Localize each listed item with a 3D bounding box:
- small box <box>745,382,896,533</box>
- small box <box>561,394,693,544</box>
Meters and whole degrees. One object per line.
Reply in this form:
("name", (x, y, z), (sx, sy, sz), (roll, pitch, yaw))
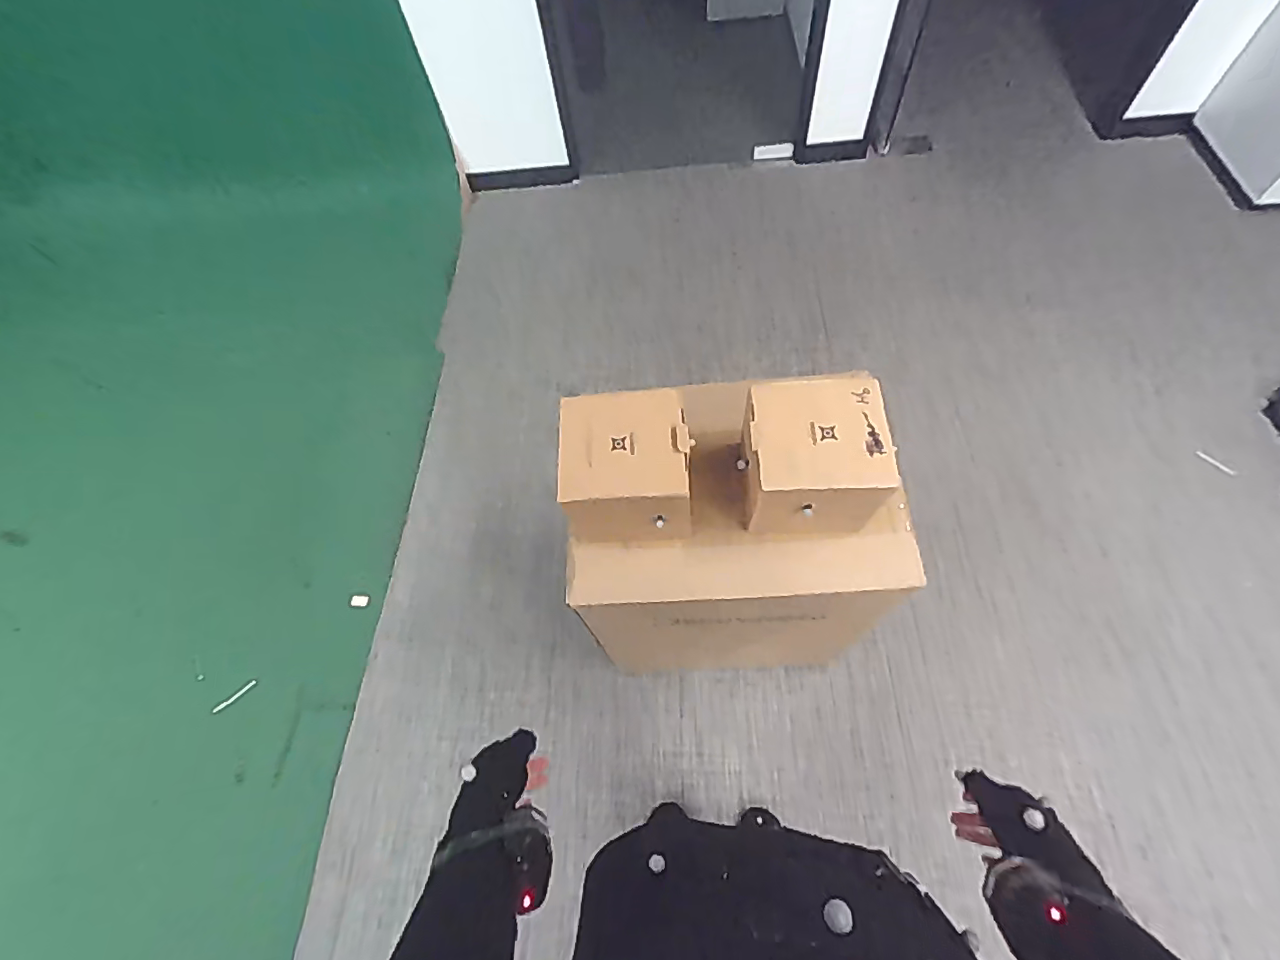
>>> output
("small box", (0.248, -0.025, 0.794), (0.179, 0.176, 0.168), (-2, 65, 5))
("small box", (-0.013, -0.010, 0.814), (0.179, 0.176, 0.168), (-5, 64, 5))
